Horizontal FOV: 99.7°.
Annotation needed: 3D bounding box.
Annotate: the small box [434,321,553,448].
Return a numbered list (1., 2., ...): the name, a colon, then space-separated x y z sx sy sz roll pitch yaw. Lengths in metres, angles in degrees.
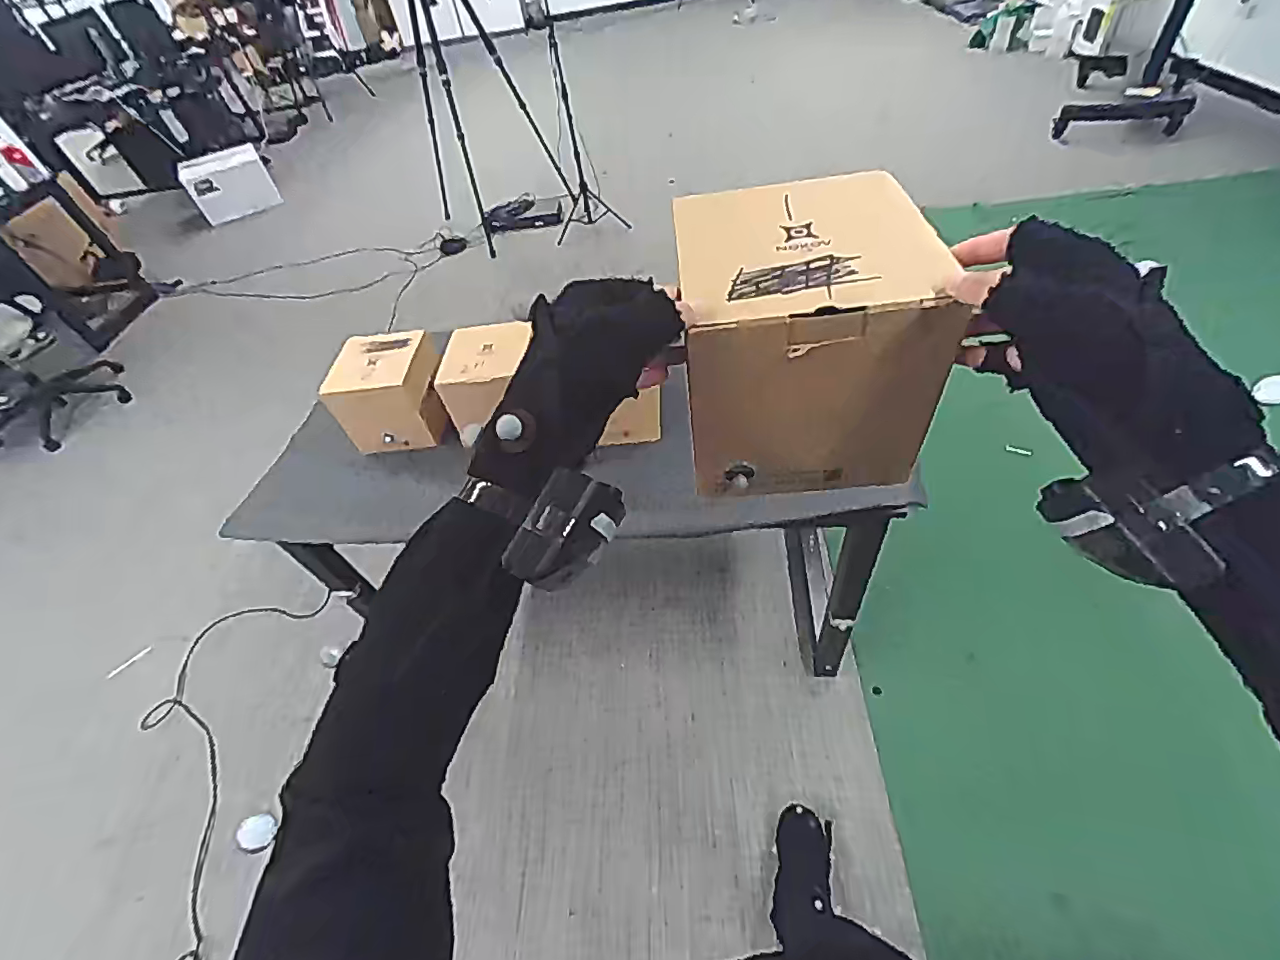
1. small box: -0.275 -0.185 1.062 0.168 0.176 0.179 -5 49 6

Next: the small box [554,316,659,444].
1. small box: -0.054 -0.181 1.021 0.168 0.176 0.179 -5 48 6

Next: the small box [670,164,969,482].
1. small box: 0.114 -0.111 0.419 0.168 0.176 0.179 -5 49 6
